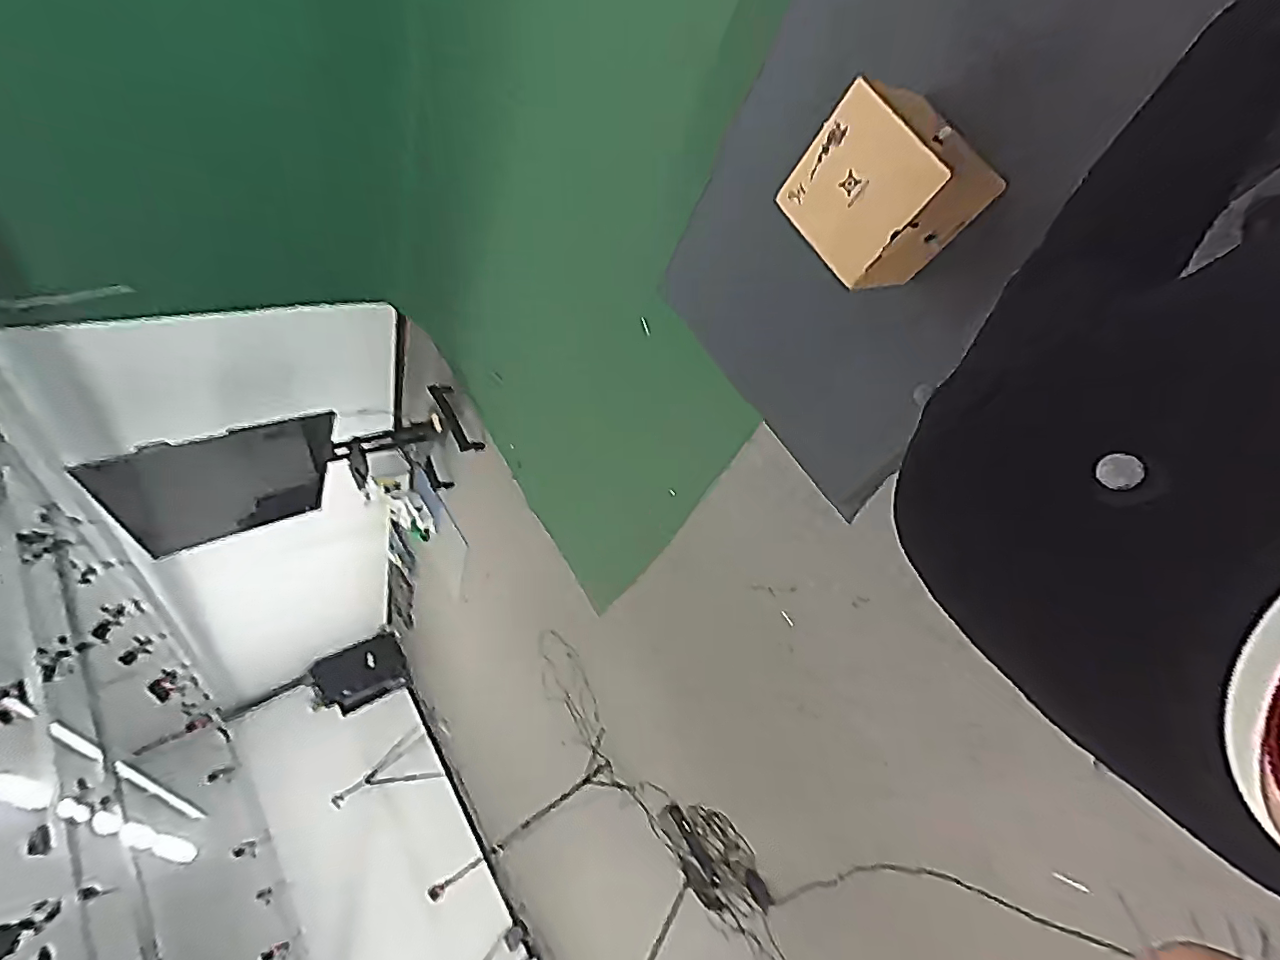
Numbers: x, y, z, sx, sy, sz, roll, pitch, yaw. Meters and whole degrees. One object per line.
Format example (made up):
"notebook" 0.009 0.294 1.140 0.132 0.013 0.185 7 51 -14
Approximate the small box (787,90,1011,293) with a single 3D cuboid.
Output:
"small box" 0.344 -0.380 0.723 0.179 0.176 0.168 57 143 18
